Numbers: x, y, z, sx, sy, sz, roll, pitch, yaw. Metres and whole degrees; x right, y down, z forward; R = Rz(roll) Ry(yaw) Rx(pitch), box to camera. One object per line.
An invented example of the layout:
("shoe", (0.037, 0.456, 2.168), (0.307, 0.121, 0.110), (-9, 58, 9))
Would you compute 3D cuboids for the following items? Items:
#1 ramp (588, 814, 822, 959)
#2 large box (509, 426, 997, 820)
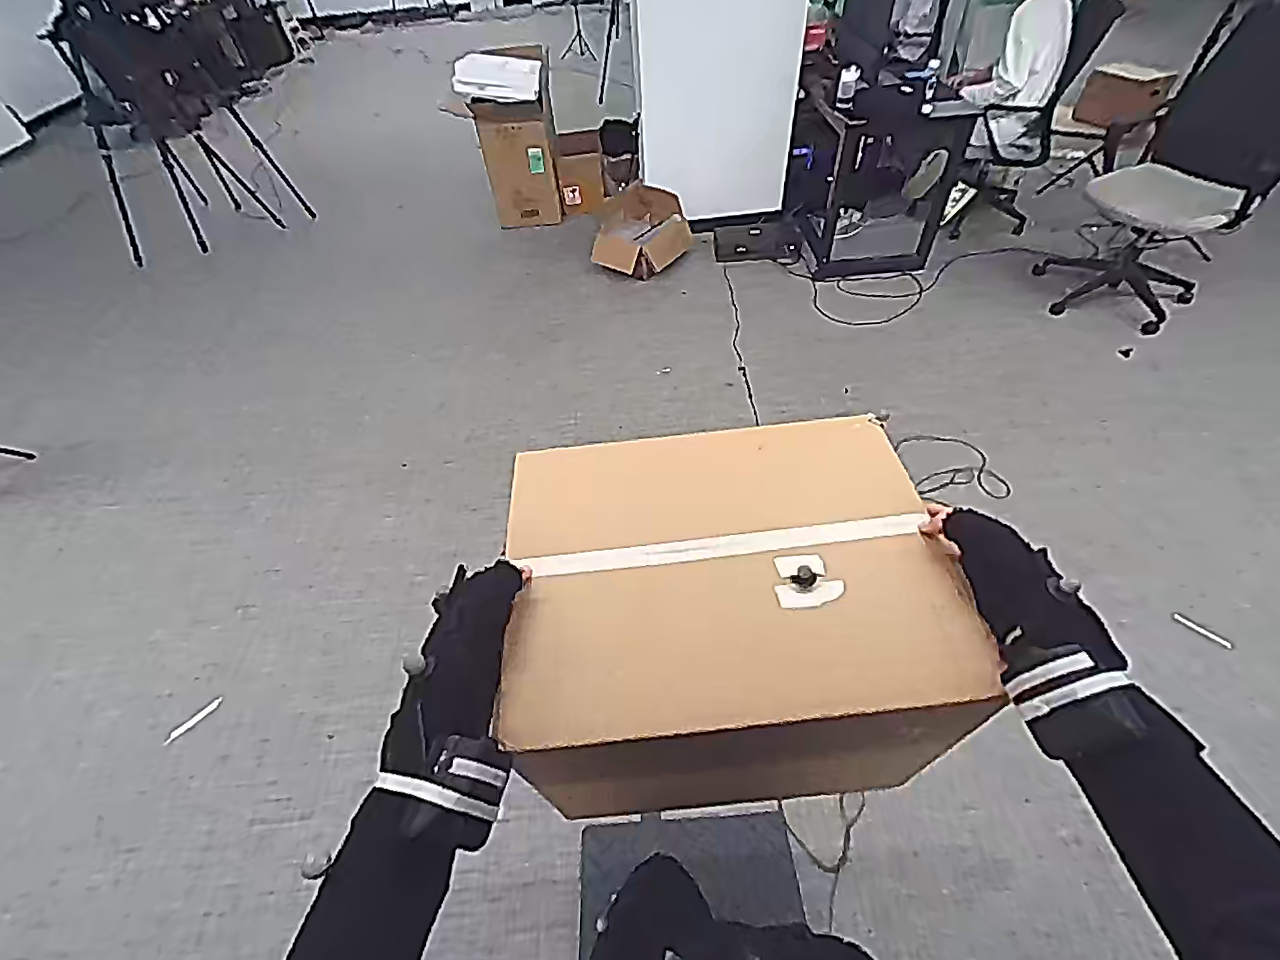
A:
("ramp", (0.142, 1.156, 0.942), (0.509, 0.206, 0.991), (-8, 49, 1))
("large box", (0.086, 0.172, 0.637), (0.408, 0.320, 0.320), (-7, 49, 0))
